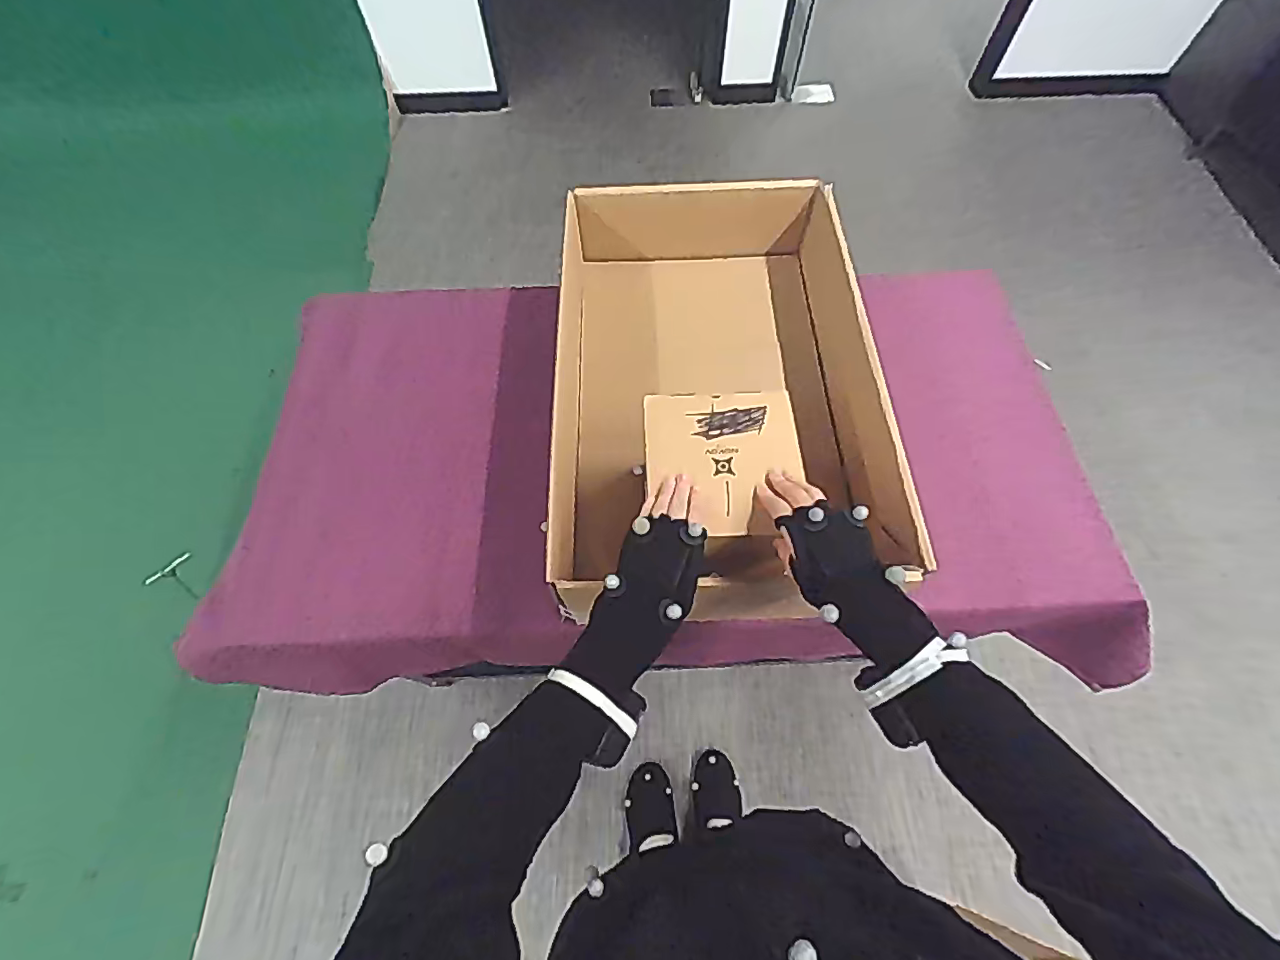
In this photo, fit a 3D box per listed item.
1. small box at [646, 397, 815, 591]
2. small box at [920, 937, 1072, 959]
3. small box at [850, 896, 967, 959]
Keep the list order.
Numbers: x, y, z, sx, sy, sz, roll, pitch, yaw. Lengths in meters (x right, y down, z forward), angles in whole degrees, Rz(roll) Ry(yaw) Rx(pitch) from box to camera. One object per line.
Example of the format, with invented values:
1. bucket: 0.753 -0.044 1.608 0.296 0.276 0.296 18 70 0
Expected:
1. small box: 0.091 0.022 0.643 0.168 0.176 0.179 -3 63 0
2. small box: 0.527 0.776 0.766 0.168 0.176 0.179 -1 62 0
3. small box: 0.530 0.939 1.052 0.179 0.176 0.168 -7 63 -3
